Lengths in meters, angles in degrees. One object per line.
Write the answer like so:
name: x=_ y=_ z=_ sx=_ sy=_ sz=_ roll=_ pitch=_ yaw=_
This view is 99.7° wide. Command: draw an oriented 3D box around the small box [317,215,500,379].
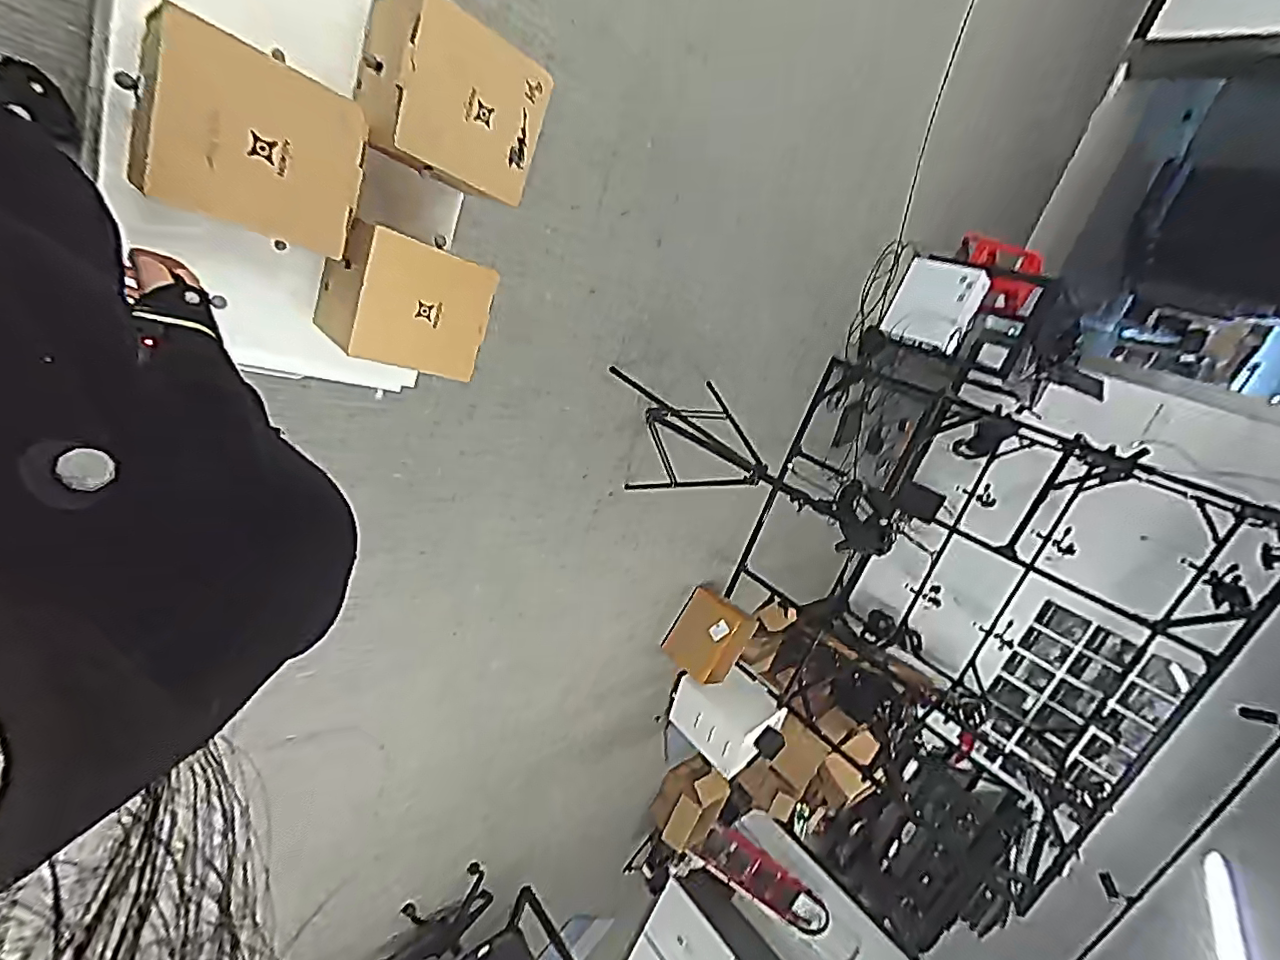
small box: x=-0.337 y=-0.262 z=0.776 sx=0.179 sy=0.176 sz=0.168 roll=4 pitch=113 yaw=-48

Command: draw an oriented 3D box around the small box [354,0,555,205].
small box: x=-0.248 y=-0.486 z=0.706 sx=0.179 sy=0.176 sz=0.168 roll=5 pitch=113 yaw=-47
